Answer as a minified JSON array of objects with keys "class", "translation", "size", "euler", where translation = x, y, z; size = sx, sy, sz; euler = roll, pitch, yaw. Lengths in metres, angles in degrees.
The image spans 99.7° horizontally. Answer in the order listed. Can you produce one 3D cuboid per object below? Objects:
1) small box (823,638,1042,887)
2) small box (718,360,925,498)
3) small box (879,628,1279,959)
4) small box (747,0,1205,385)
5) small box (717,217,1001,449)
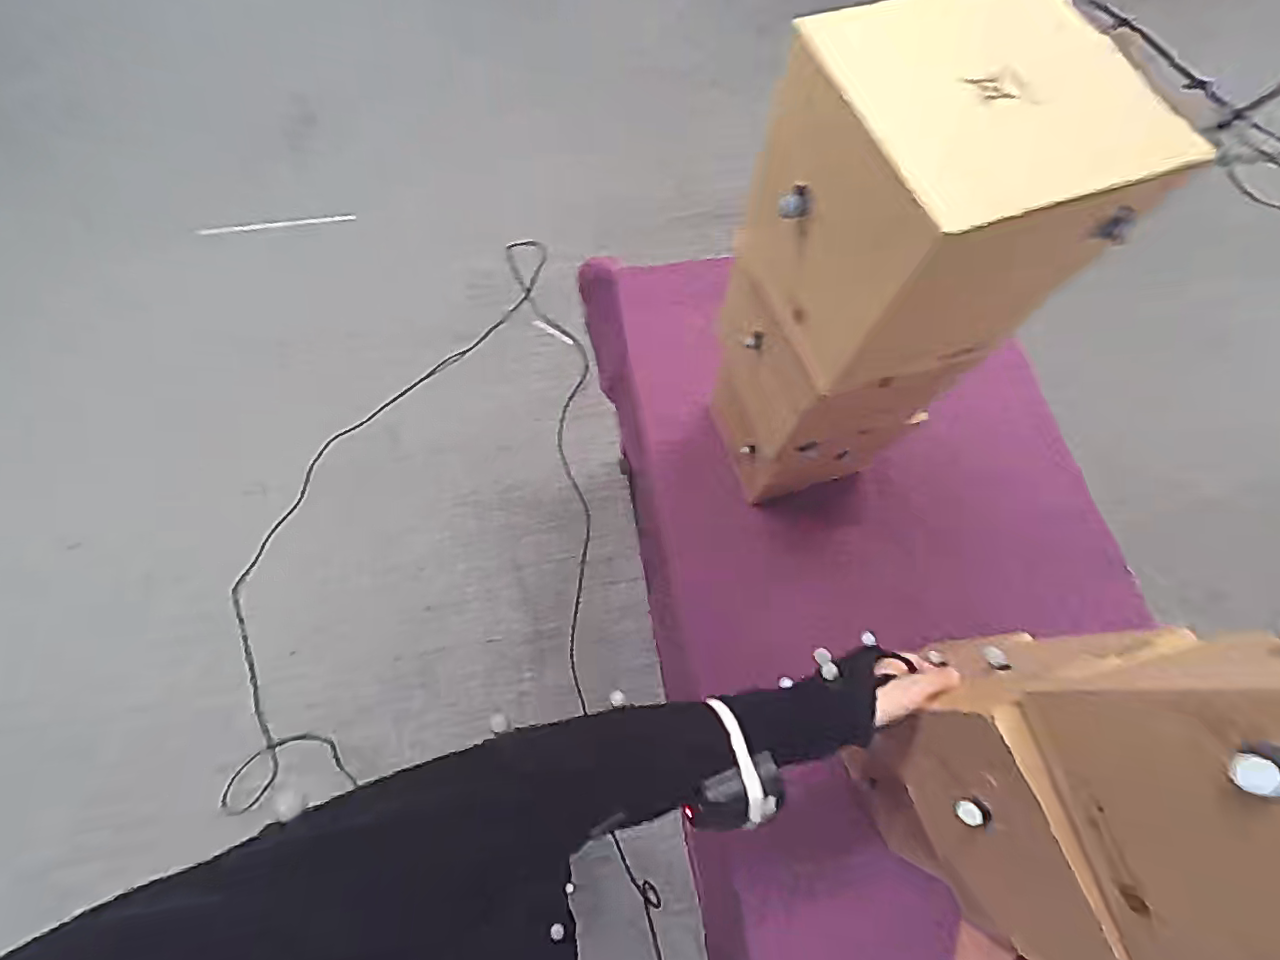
[{"class":"small box","translation":[0.322,0.275,0.551],"size":[0.179,0.176,0.168],"euler":[-21,72,-10]},{"class":"small box","translation":[0.208,-0.091,0.683],"size":[0.179,0.176,0.168],"euler":[-15,72,-9]},{"class":"small box","translation":[0.311,0.225,0.394],"size":[0.168,0.176,0.179],"euler":[-16,71,-8]},{"class":"small box","translation":[0.188,-0.189,0.371],"size":[0.179,0.176,0.168],"euler":[-19,73,-10]},{"class":"small box","translation":[0.189,-0.144,0.528],"size":[0.168,0.176,0.179],"euler":[-15,71,-8]}]
